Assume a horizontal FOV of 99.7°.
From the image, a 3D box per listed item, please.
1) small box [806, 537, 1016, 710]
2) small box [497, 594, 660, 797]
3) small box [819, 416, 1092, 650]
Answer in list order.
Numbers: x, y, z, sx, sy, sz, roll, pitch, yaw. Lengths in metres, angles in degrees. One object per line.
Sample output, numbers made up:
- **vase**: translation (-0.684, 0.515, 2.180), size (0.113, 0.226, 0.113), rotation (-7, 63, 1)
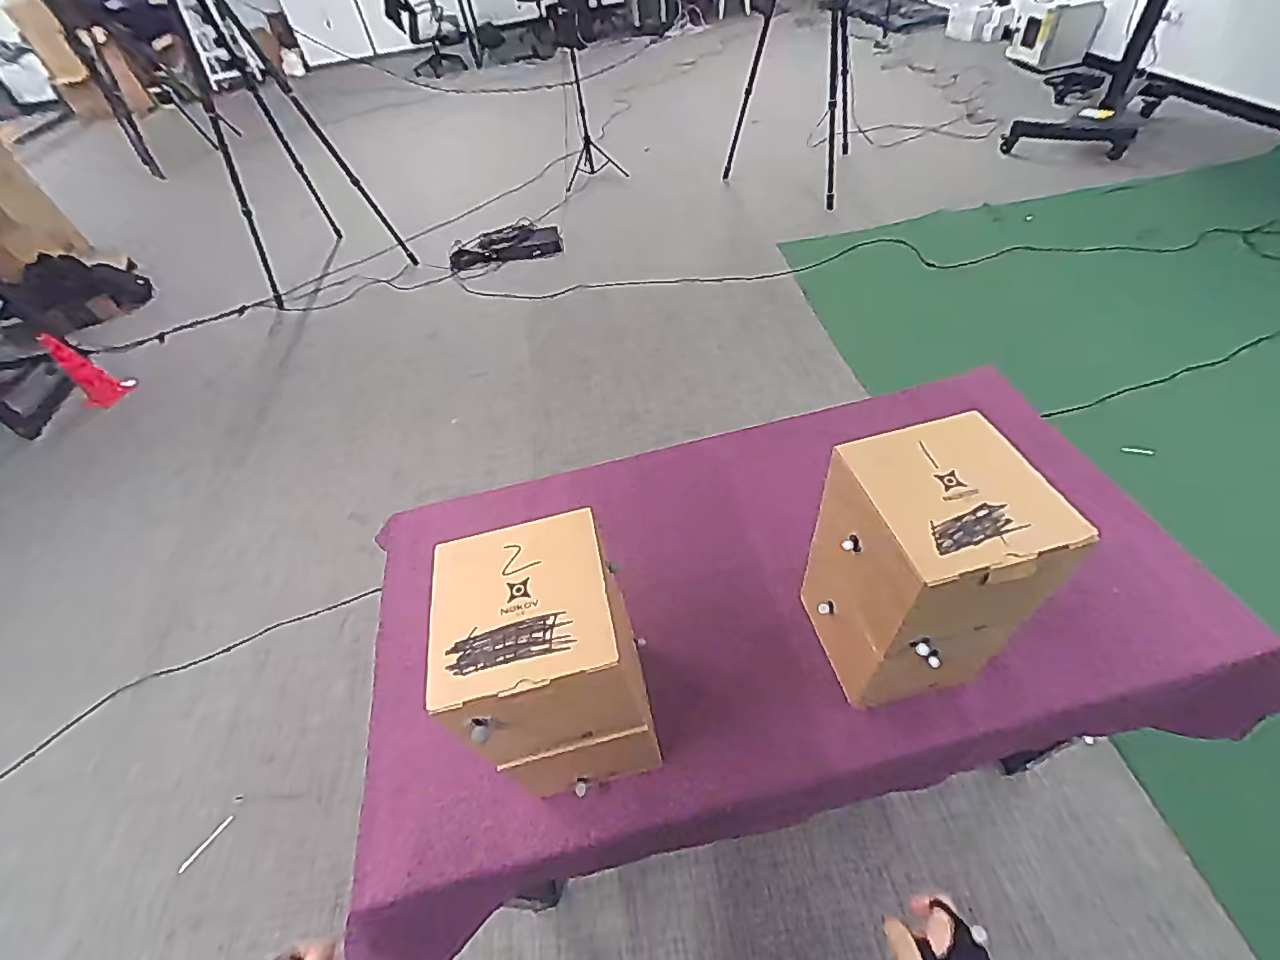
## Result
- **small box**: translation (0.330, 0.171, 0.707), size (0.168, 0.176, 0.179), rotation (-15, 48, -2)
- **small box**: translation (-0.076, 0.275, 0.686), size (0.168, 0.176, 0.179), rotation (-13, 50, -2)
- **small box**: translation (0.311, 0.064, 0.583), size (0.168, 0.176, 0.179), rotation (-14, 49, -3)
